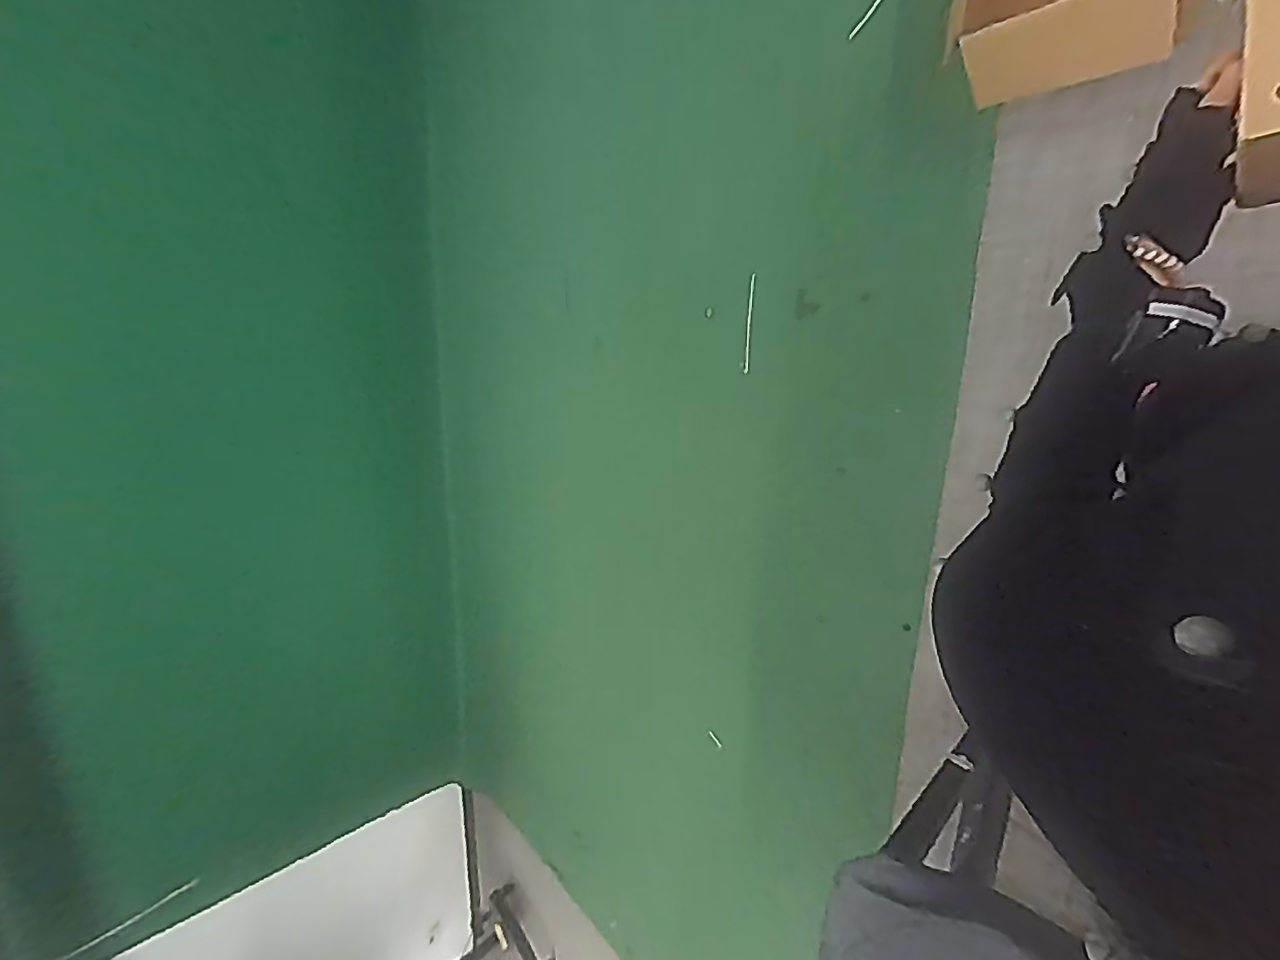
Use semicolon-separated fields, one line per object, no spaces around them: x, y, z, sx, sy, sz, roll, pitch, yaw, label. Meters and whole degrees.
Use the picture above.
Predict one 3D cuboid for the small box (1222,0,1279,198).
0.480;-0.296;0.319;0.179;0.176;0.168;5;98;47;small box
